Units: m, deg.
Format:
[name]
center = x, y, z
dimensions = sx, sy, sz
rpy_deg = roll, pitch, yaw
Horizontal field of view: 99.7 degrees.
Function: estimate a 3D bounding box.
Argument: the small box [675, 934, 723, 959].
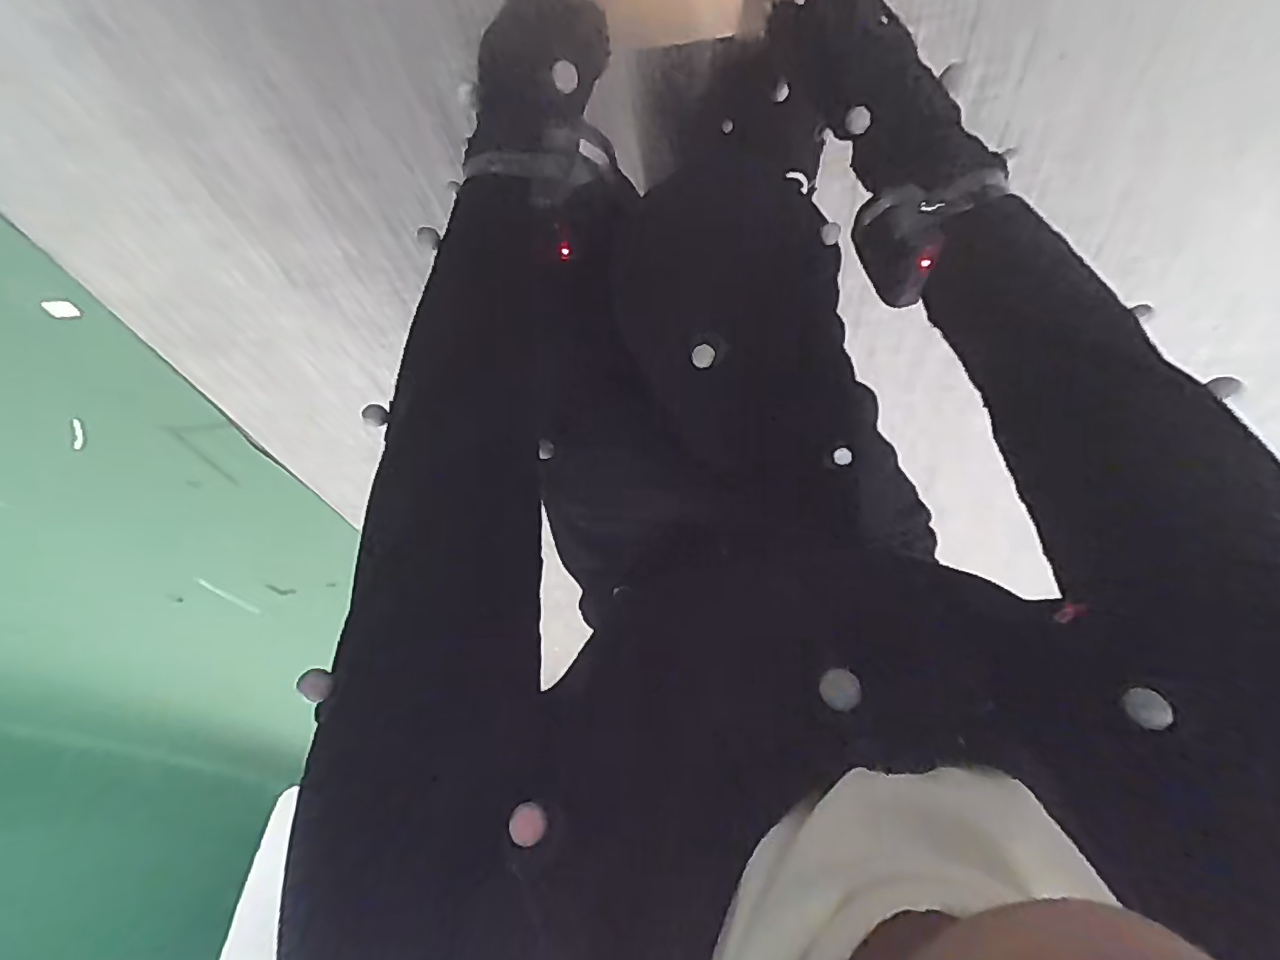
[small box]
center = 0.227, 1.833, 2.059
dimensions = 0.179, 0.176, 0.168
rpy_deg = -4, 145, 10
